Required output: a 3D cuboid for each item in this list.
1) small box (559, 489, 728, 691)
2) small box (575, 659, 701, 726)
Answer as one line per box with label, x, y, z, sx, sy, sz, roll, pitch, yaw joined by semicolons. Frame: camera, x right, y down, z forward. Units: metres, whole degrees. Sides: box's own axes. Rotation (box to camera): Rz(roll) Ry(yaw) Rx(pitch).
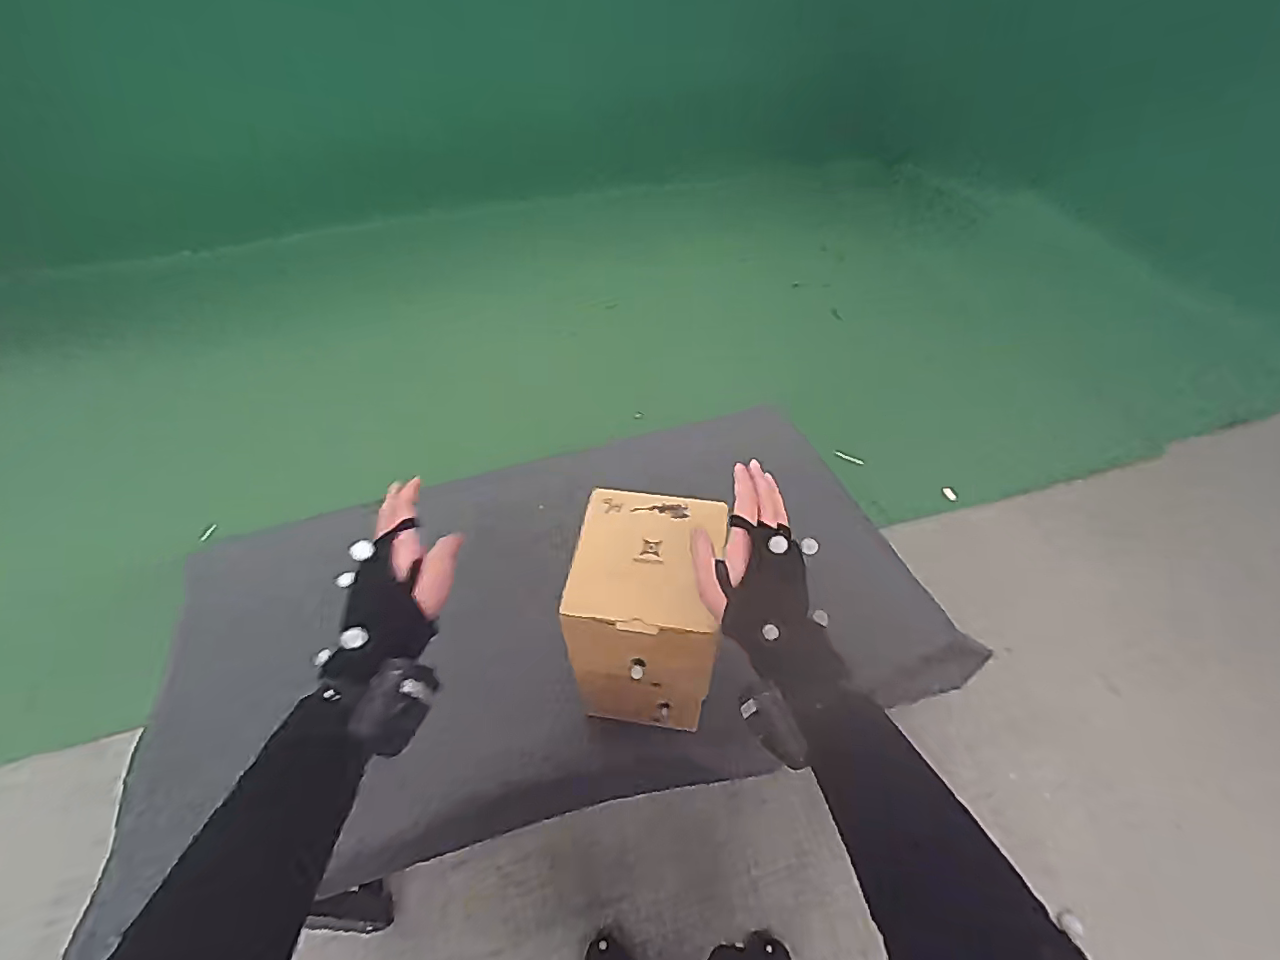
small box;0.012;0.137;0.657;0.168;0.176;0.179;7;50;7
small box;0.012;0.237;0.787;0.168;0.176;0.179;7;48;6
